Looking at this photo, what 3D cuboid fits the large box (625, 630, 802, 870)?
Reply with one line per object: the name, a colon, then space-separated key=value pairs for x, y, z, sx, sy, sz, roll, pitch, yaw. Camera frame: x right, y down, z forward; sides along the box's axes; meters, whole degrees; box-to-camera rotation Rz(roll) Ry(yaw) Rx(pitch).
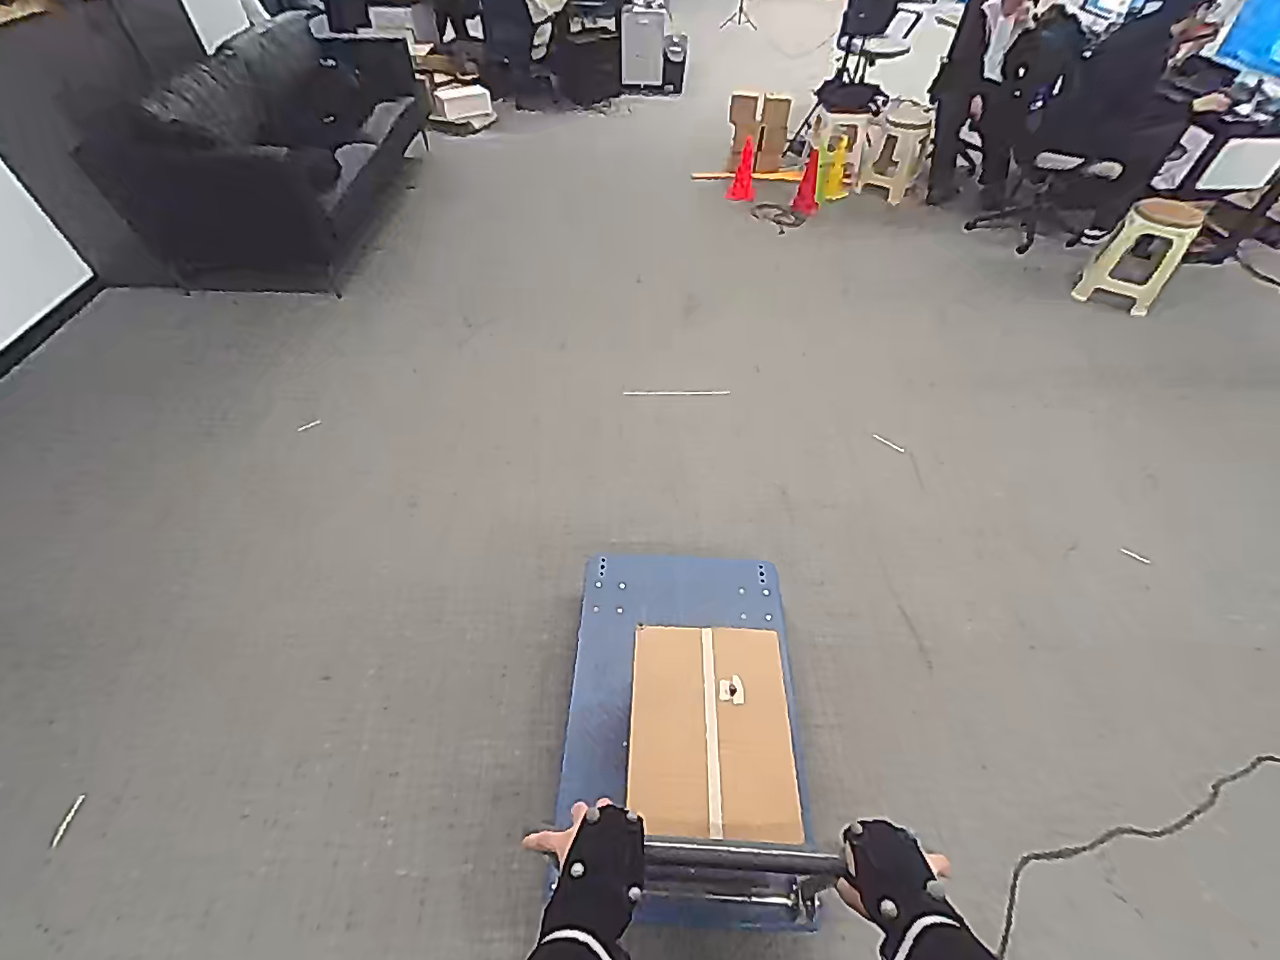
large box: x=0.131 y=0.584 z=1.174 sx=0.320 sy=0.320 sz=0.408 roll=2 pitch=47 yaw=0
